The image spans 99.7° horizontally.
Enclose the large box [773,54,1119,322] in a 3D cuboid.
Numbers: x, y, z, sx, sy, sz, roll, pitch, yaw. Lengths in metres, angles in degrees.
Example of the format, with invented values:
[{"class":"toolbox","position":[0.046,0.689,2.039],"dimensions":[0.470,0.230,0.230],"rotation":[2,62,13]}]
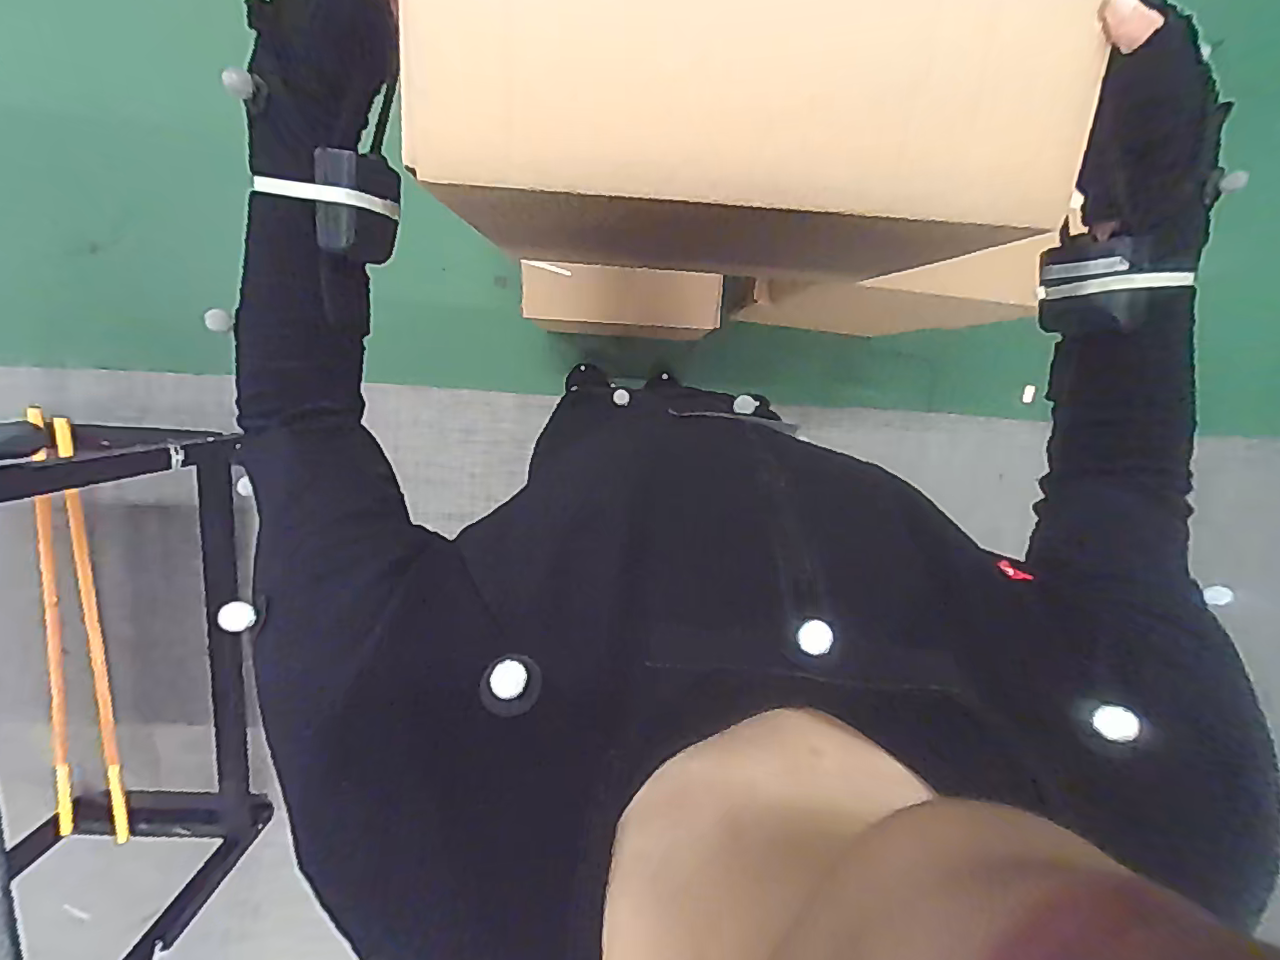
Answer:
[{"class":"large box","position":[0.484,-0.468,0.950],"dimensions":[0.408,0.320,0.320],"rotation":[5,101,-4]}]
